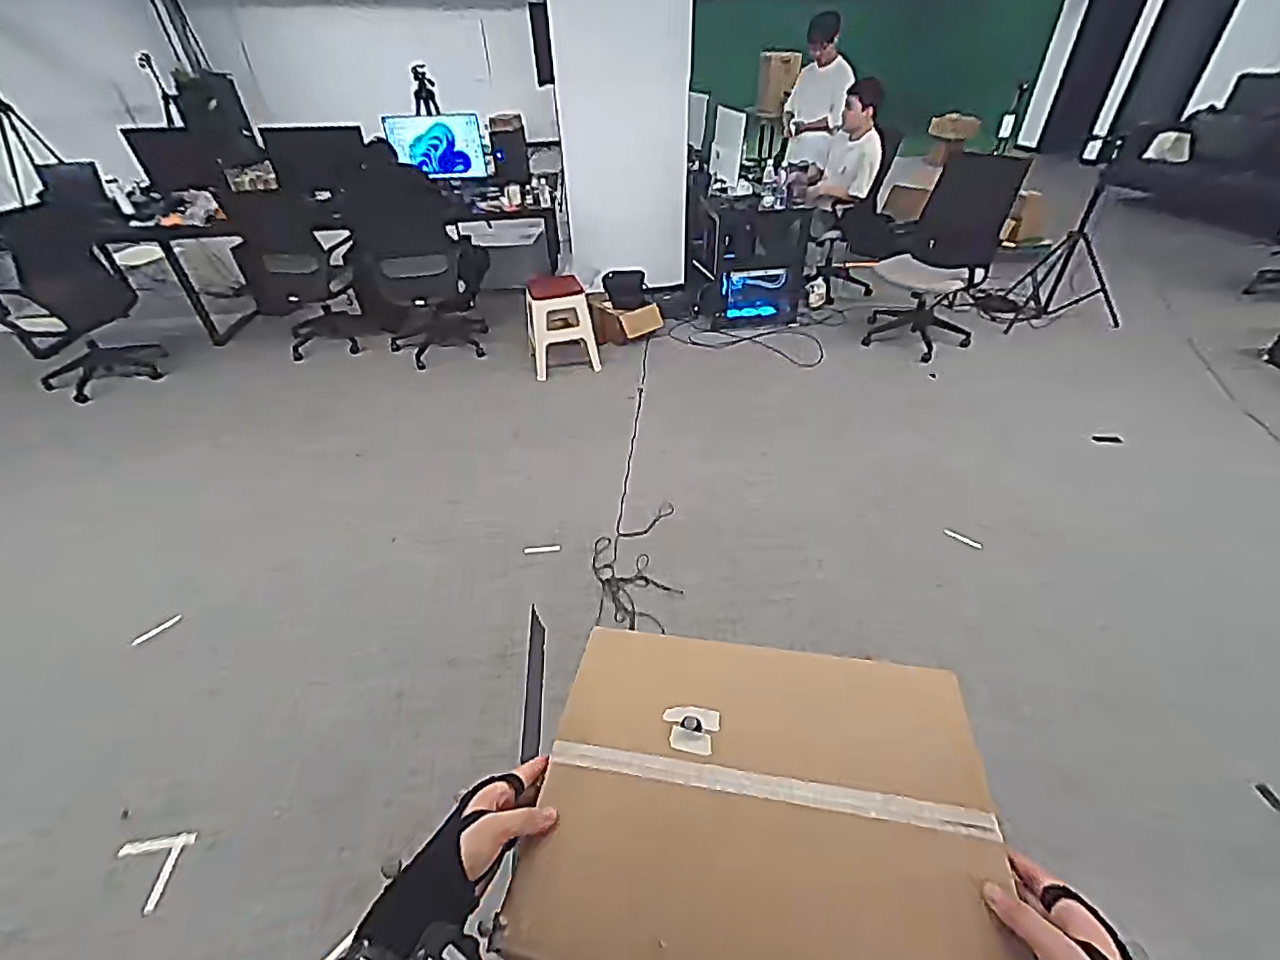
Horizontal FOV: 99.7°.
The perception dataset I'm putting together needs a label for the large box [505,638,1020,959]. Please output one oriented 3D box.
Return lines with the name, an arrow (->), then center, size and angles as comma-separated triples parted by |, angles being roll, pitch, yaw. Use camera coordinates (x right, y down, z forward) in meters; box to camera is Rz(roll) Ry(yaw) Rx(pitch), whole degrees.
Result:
large box -> 0.125, 0.413, 0.607 | 0.408, 0.320, 0.320 | 2, 37, 12
